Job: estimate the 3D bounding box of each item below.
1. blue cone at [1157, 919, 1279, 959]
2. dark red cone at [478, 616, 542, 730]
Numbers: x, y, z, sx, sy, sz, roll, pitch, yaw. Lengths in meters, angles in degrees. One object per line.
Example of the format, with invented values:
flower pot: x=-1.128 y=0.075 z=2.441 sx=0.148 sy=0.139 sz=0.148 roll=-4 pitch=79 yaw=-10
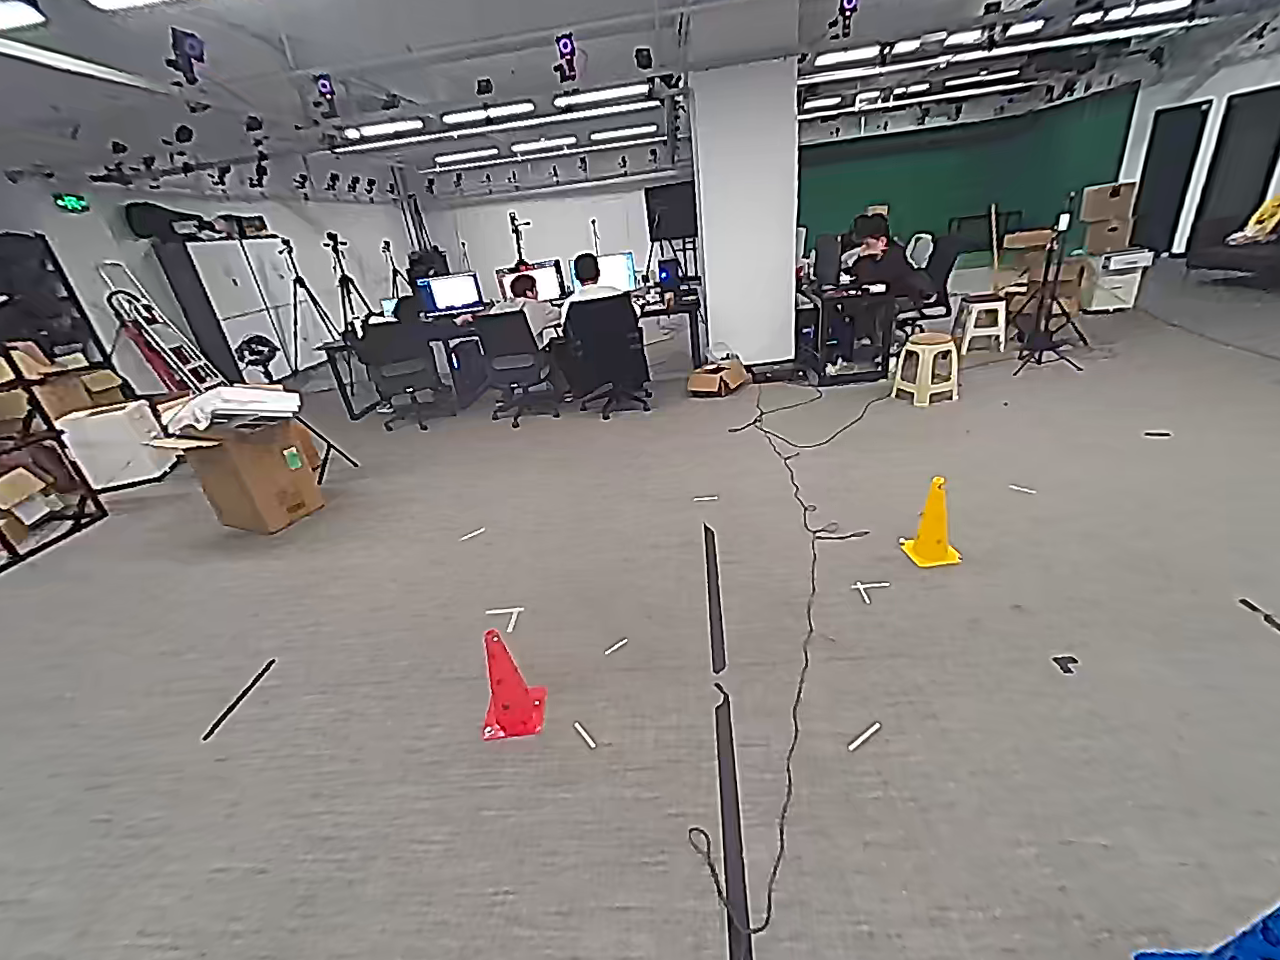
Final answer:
blue cone: x=1.078 y=0.834 z=0.913 sx=0.192 sy=0.380 sz=0.193 roll=-4 pitch=26 yaw=7
dark red cone: x=-0.450 y=0.611 z=1.756 sx=0.201 sy=0.394 sz=0.202 roll=-7 pitch=25 yaw=-1
